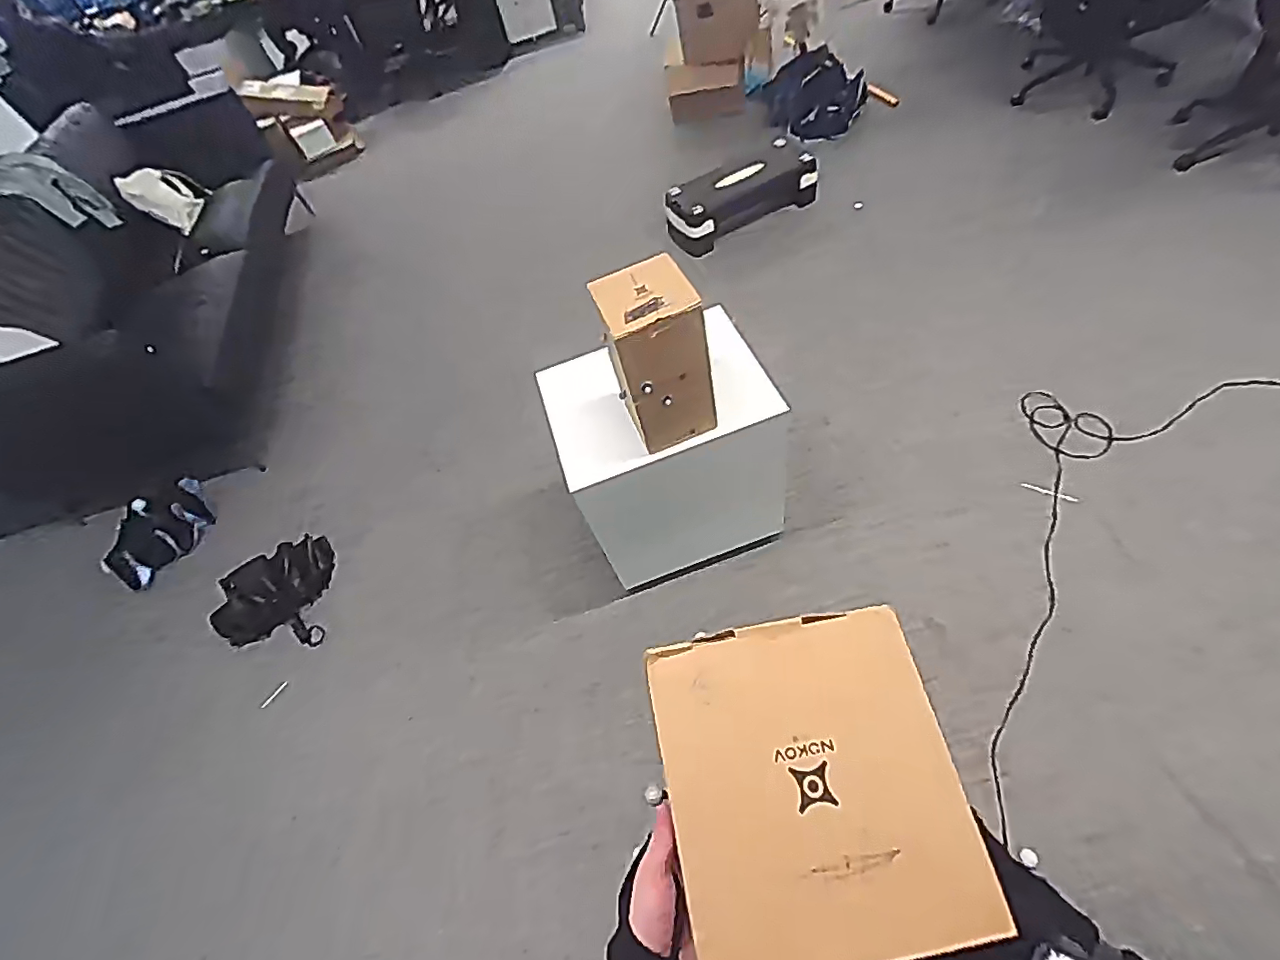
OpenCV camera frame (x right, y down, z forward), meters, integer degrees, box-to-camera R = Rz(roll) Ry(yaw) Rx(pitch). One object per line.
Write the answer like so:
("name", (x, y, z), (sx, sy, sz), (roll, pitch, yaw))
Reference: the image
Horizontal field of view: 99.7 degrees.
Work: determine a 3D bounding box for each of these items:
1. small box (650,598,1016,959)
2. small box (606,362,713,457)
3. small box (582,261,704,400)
("small box", (0.102, 0.202, 0.383), (0.168, 0.176, 0.179), (-11, 65, -3))
("small box", (0.043, -0.182, 1.161), (0.168, 0.176, 0.179), (-24, 53, -3))
("small box", (0.010, -0.275, 1.029), (0.168, 0.176, 0.179), (-23, 53, -3))
